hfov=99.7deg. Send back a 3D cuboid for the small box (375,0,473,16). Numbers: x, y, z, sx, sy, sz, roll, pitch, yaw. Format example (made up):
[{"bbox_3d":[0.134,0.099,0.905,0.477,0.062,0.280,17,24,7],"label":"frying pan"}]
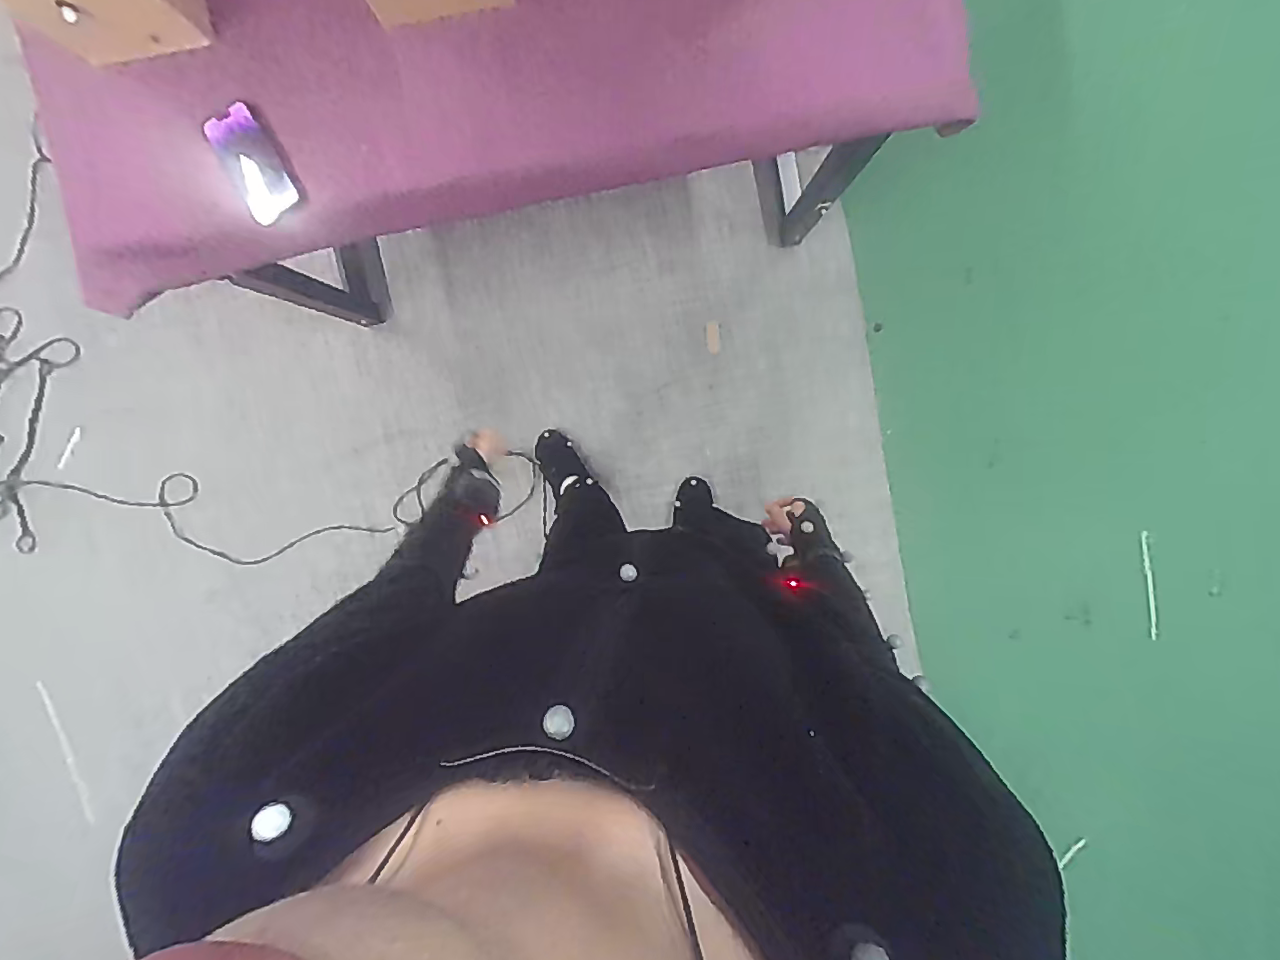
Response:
[{"bbox_3d":[-0.258,-0.675,0.602,0.179,0.176,0.168,-9,96,3],"label":"small box"}]

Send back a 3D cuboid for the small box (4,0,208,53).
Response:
[{"bbox_3d":[-0.647,-0.633,0.618,0.168,0.176,0.179,-9,96,3],"label":"small box"}]
